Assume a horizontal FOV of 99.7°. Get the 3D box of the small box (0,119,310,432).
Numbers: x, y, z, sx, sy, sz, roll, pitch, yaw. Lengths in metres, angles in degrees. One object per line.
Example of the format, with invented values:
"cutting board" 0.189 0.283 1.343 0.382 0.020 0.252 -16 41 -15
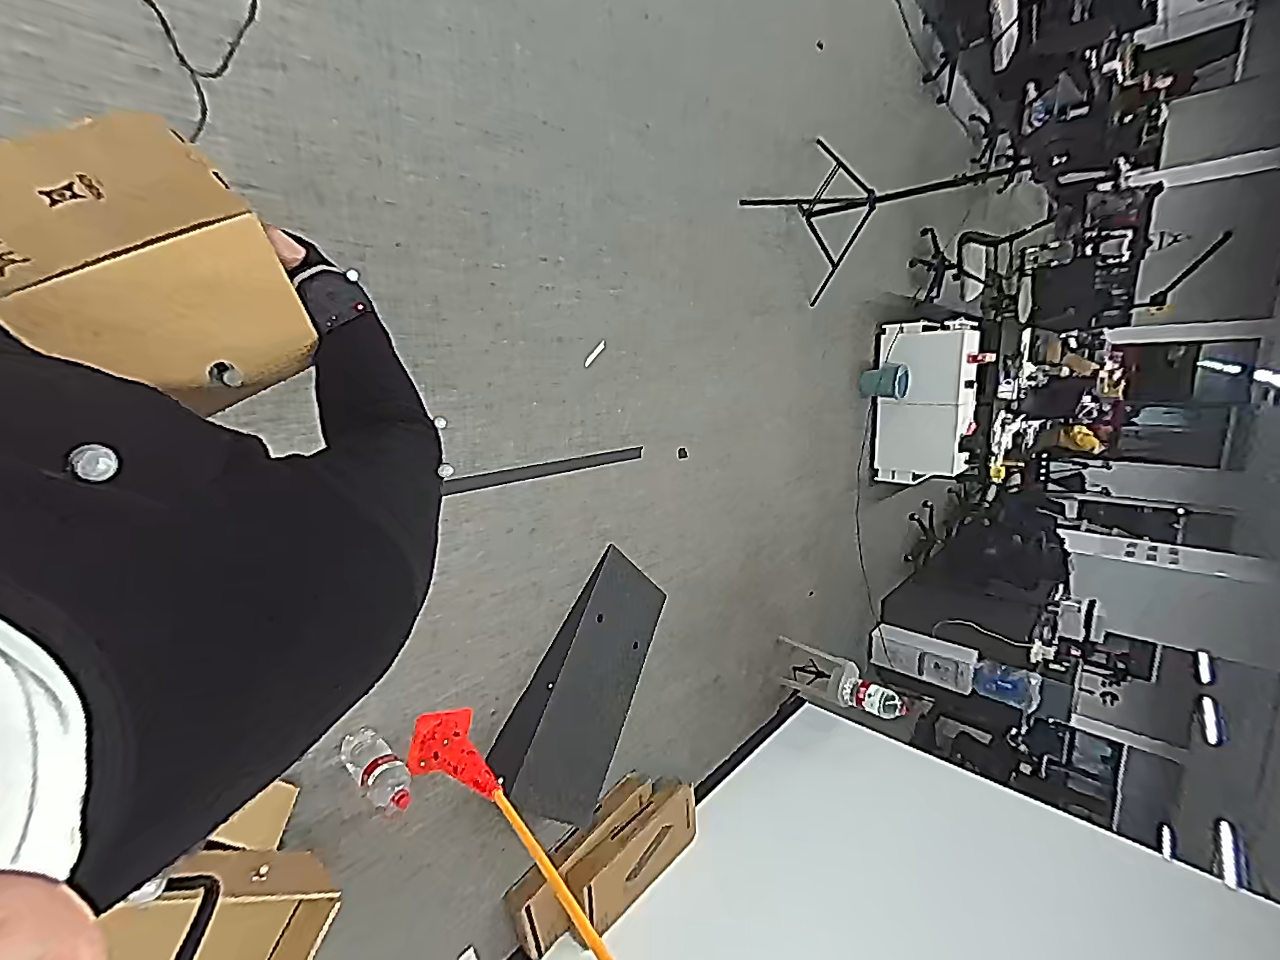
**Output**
"small box" -0.434 -0.178 0.487 0.179 0.168 0.176 -39 162 -27
